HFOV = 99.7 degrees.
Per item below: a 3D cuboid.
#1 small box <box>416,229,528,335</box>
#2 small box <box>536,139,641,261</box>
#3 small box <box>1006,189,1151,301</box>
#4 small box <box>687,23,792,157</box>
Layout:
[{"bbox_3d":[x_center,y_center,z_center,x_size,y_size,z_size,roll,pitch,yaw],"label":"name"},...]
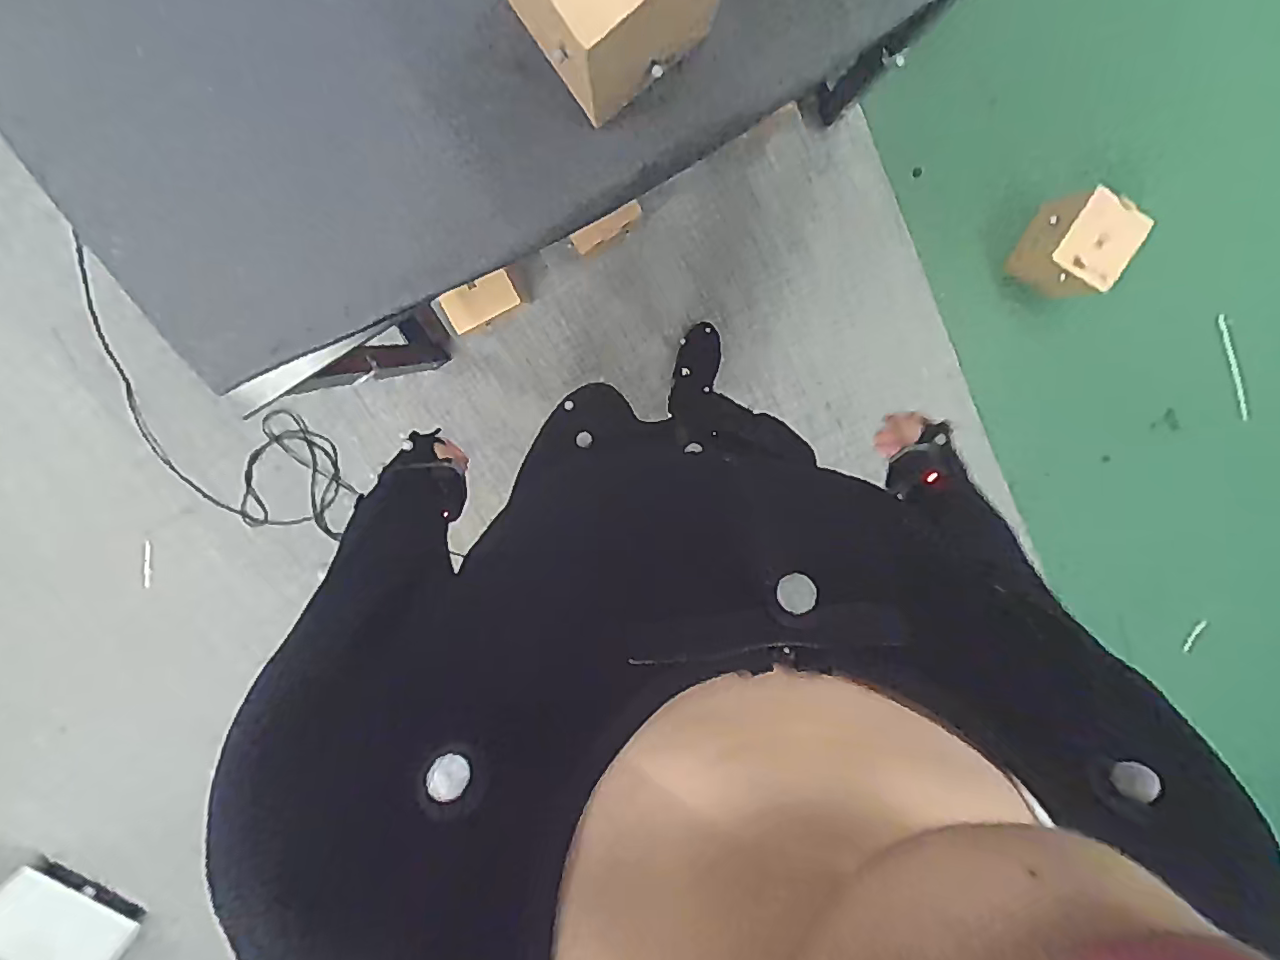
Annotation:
[{"bbox_3d":[-0.381,-0.456,1.267,0.168,0.176,0.179,-25,104,5],"label":"small box"},{"bbox_3d":[-0.111,-0.621,1.230,0.168,0.176,0.179,-32,103,6],"label":"small box"},{"bbox_3d":[1.030,-0.548,1.289,0.168,0.176,0.179,27,101,-8],"label":"small box"},{"bbox_3d":[0.207,-0.838,1.182,0.179,0.176,0.168,-17,105,1],"label":"small box"}]
